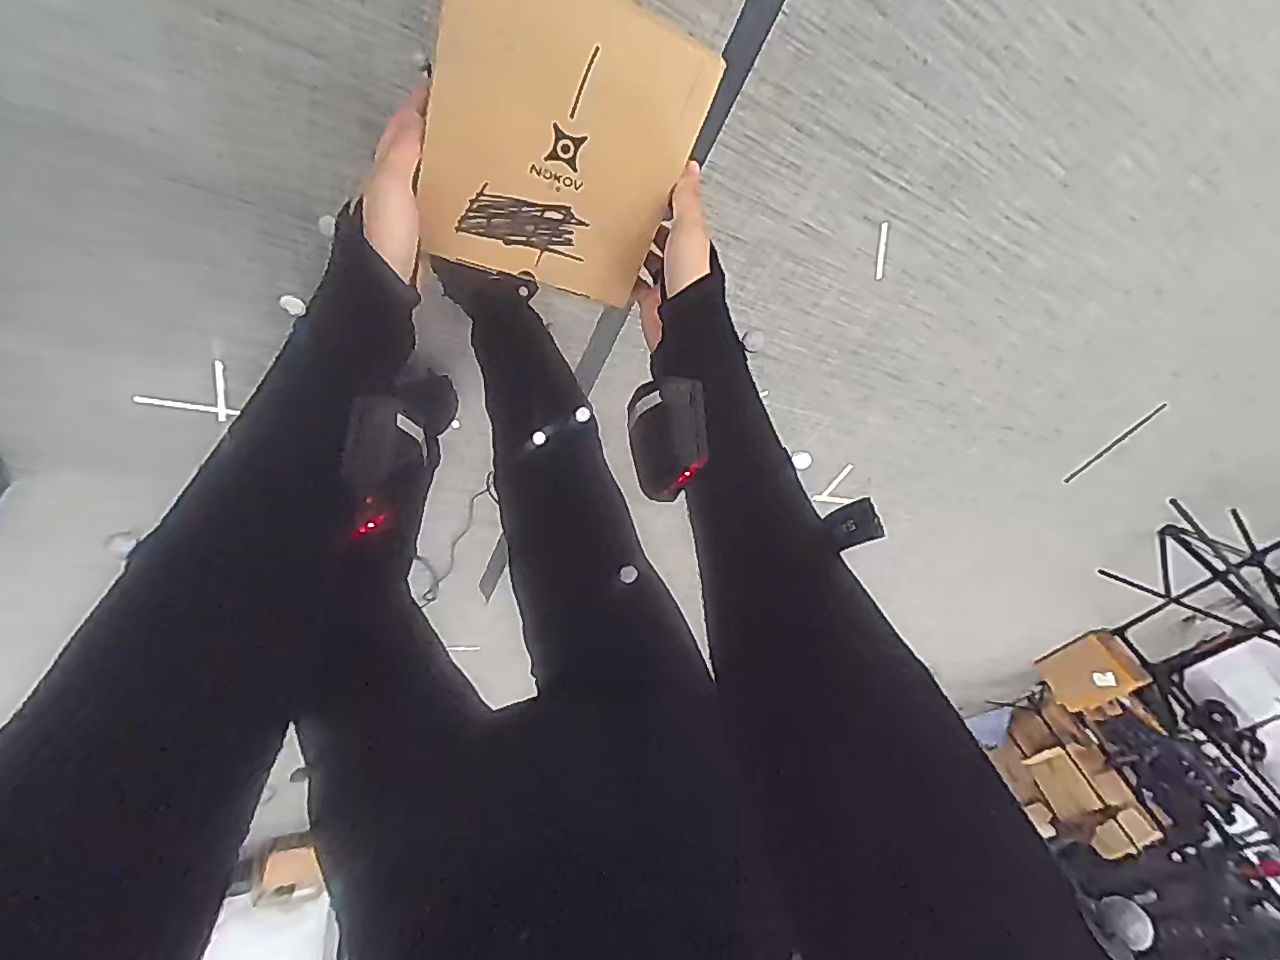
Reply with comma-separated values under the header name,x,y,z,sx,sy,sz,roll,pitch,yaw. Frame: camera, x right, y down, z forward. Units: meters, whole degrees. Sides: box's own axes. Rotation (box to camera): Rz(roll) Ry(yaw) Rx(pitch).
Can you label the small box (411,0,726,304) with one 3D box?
name,x,y,z,sx,sy,sz,roll,pitch,yaw
small box,-0.067,-0.269,0.403,0.168,0.176,0.179,8,134,-26
